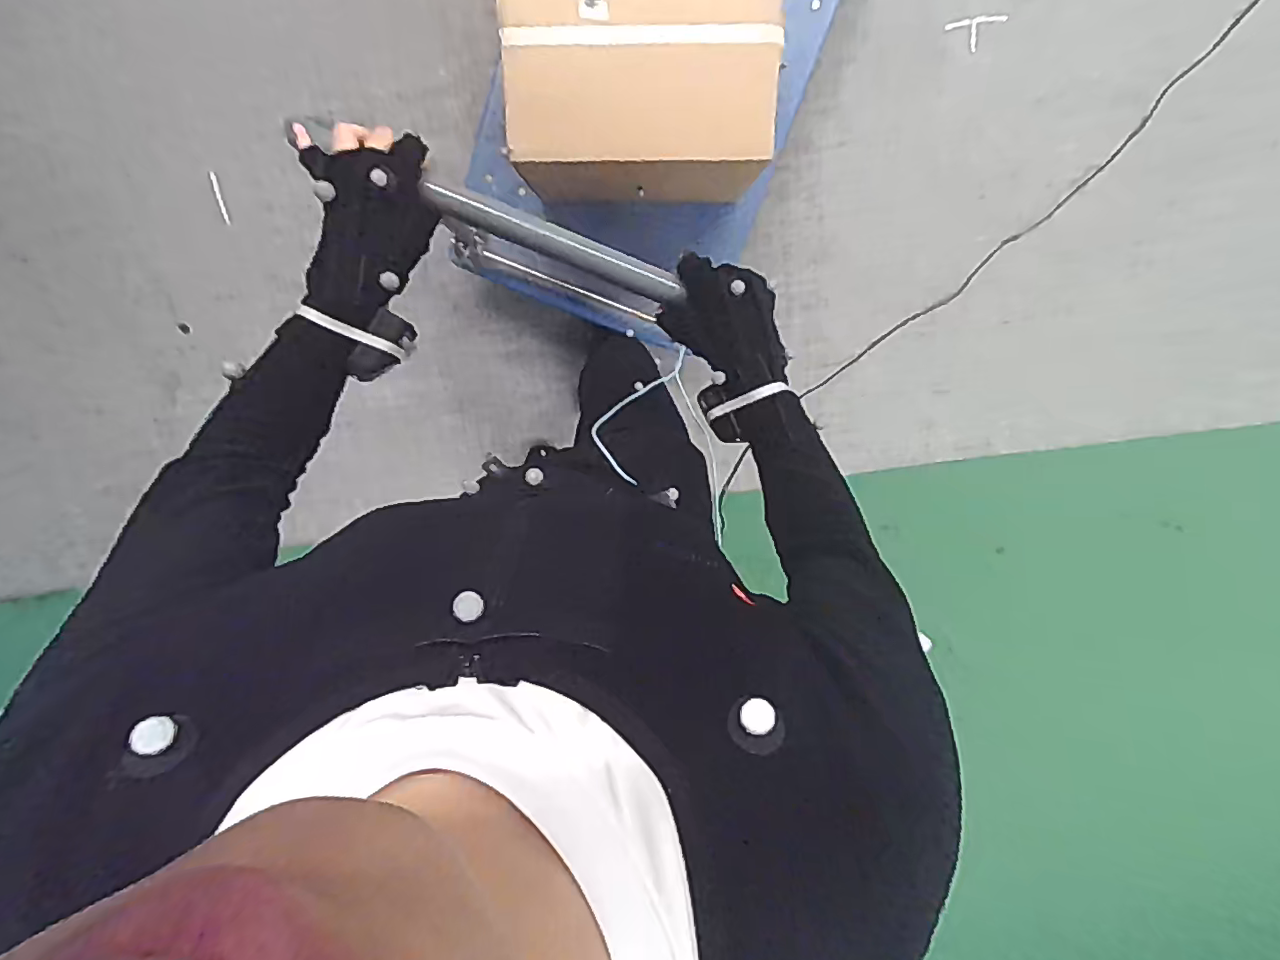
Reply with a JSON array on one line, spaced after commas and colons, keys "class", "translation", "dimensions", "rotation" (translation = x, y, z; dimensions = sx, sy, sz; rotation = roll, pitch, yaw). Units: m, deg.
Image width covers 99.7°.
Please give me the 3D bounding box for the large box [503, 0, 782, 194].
[{"class": "large box", "translation": [0.007, -0.684, 0.915], "dimensions": [0.408, 0.320, 0.320], "rotation": [0, 107, 0]}]
